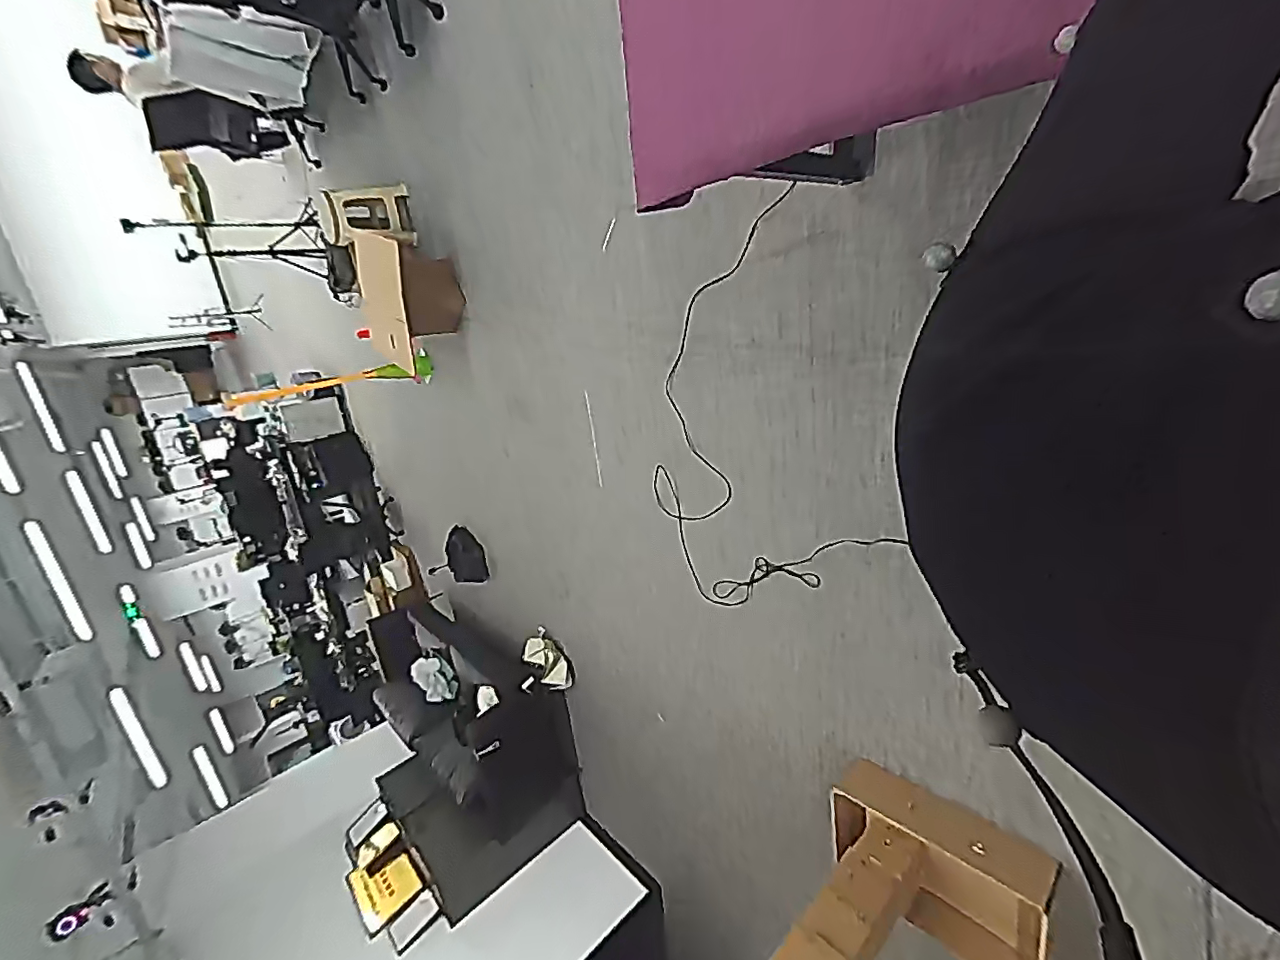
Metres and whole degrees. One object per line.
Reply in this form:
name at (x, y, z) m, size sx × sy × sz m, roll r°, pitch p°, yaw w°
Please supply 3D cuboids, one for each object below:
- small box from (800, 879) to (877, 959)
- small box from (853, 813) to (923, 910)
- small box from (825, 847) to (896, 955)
small box at (0.603, 1.380, 1.644) m, size 0.168 × 0.176 × 0.179 m, roll 11°, pitch 115°, yaw 47°
small box at (0.849, 1.289, 1.843) m, size 0.168 × 0.176 × 0.179 m, roll 3°, pitch 110°, yaw 47°
small box at (0.709, 1.343, 1.740) m, size 0.168 × 0.176 × 0.179 m, roll 10°, pitch 114°, yaw 46°
